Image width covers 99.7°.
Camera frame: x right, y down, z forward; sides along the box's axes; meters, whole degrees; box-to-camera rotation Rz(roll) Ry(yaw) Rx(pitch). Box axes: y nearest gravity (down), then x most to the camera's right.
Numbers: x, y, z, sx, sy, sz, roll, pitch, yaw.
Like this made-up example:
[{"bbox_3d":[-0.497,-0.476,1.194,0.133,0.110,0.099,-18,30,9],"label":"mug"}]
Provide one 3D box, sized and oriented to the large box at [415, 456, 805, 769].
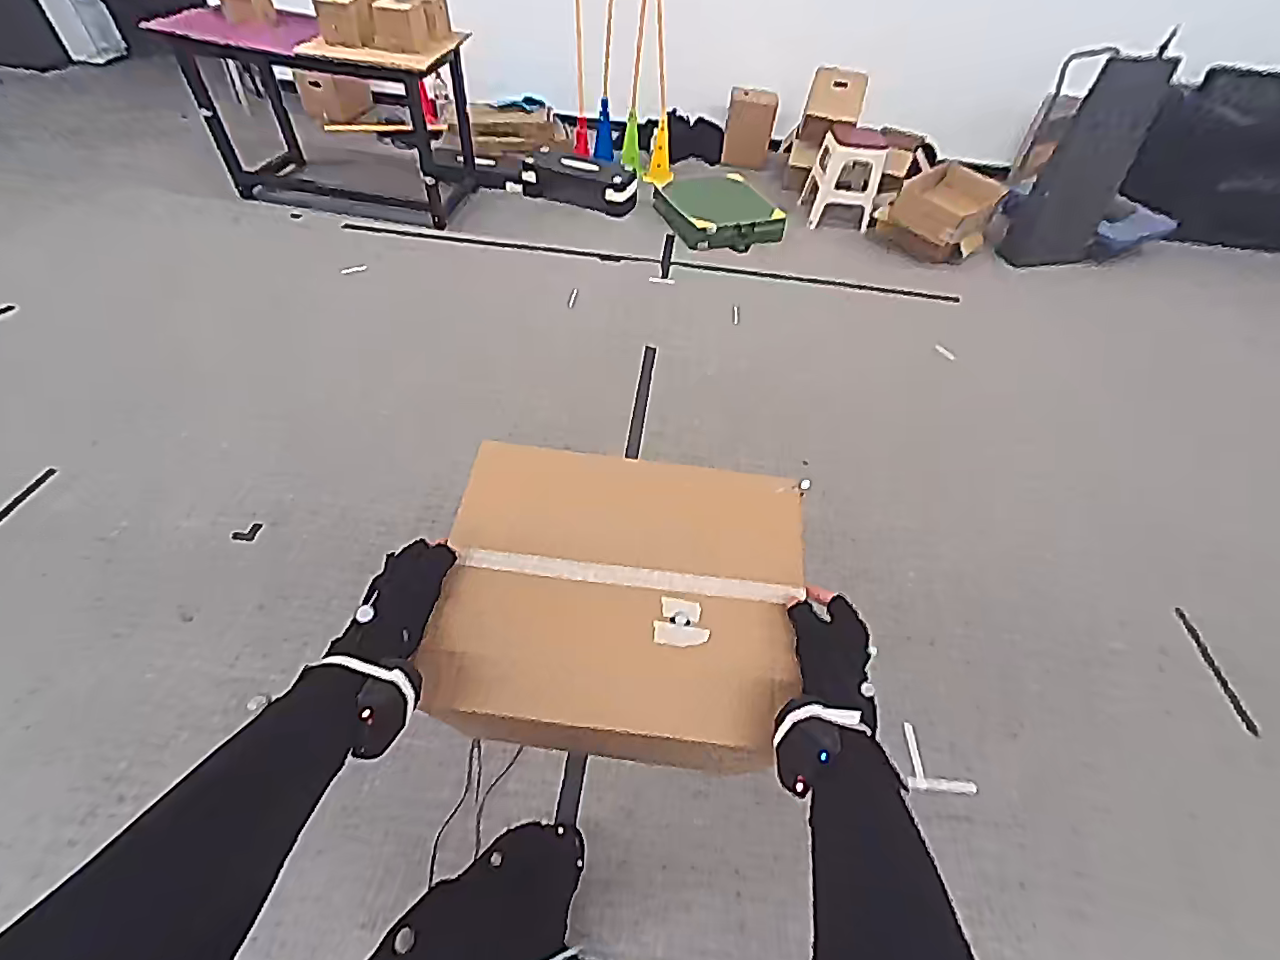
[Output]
[{"bbox_3d":[-0.027,0.195,0.744,0.408,0.320,0.320,7,59,0],"label":"large box"}]
